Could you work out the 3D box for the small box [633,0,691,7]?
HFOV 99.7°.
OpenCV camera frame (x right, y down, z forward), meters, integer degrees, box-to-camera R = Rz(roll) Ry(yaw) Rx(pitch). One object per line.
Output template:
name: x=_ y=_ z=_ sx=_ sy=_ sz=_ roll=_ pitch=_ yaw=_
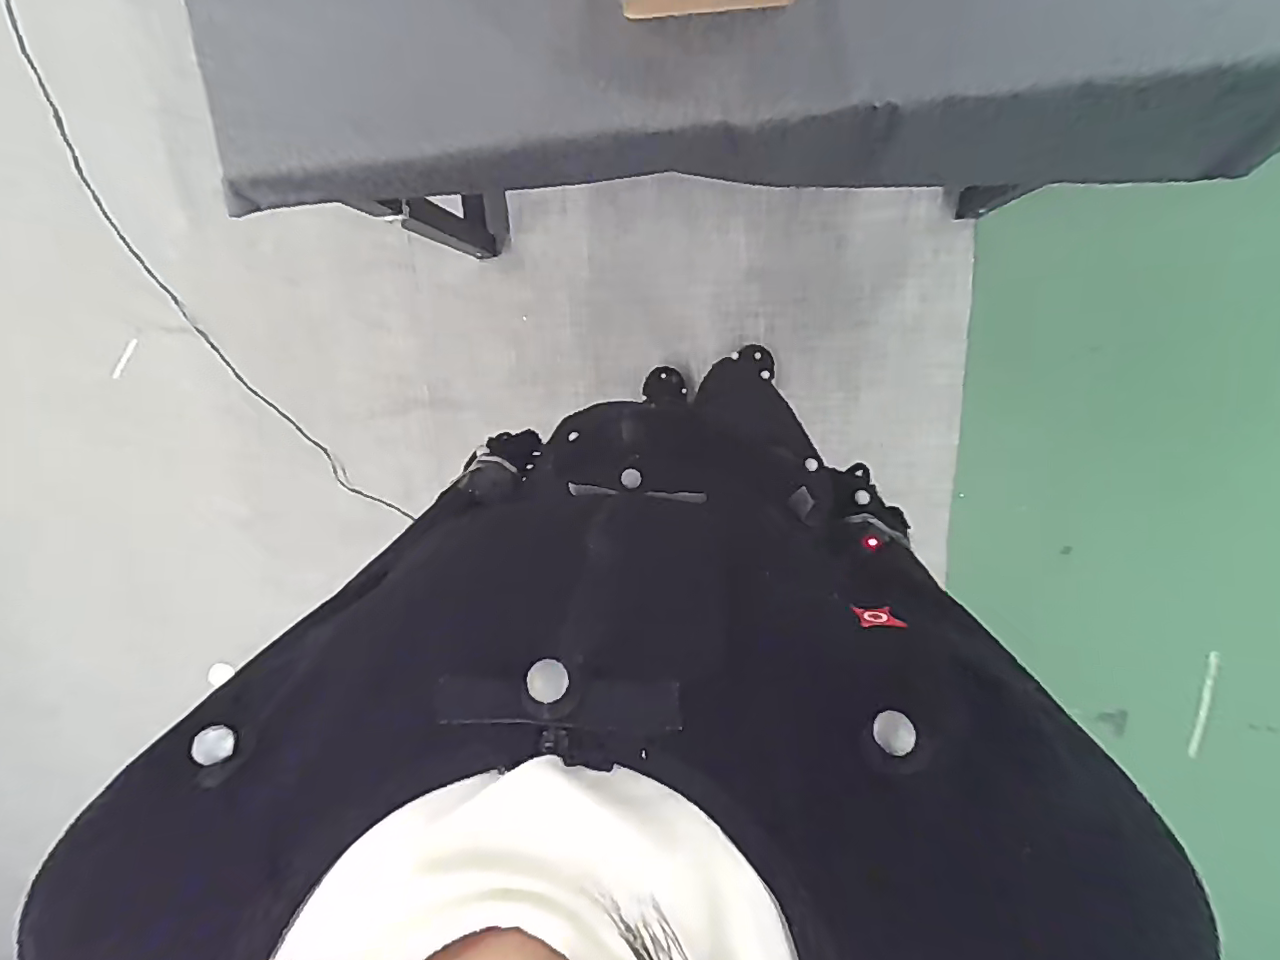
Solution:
small box: x=0.061 y=-0.559 z=0.468 sx=0.179 sy=0.176 sz=0.168 roll=-3 pitch=102 yaw=6
